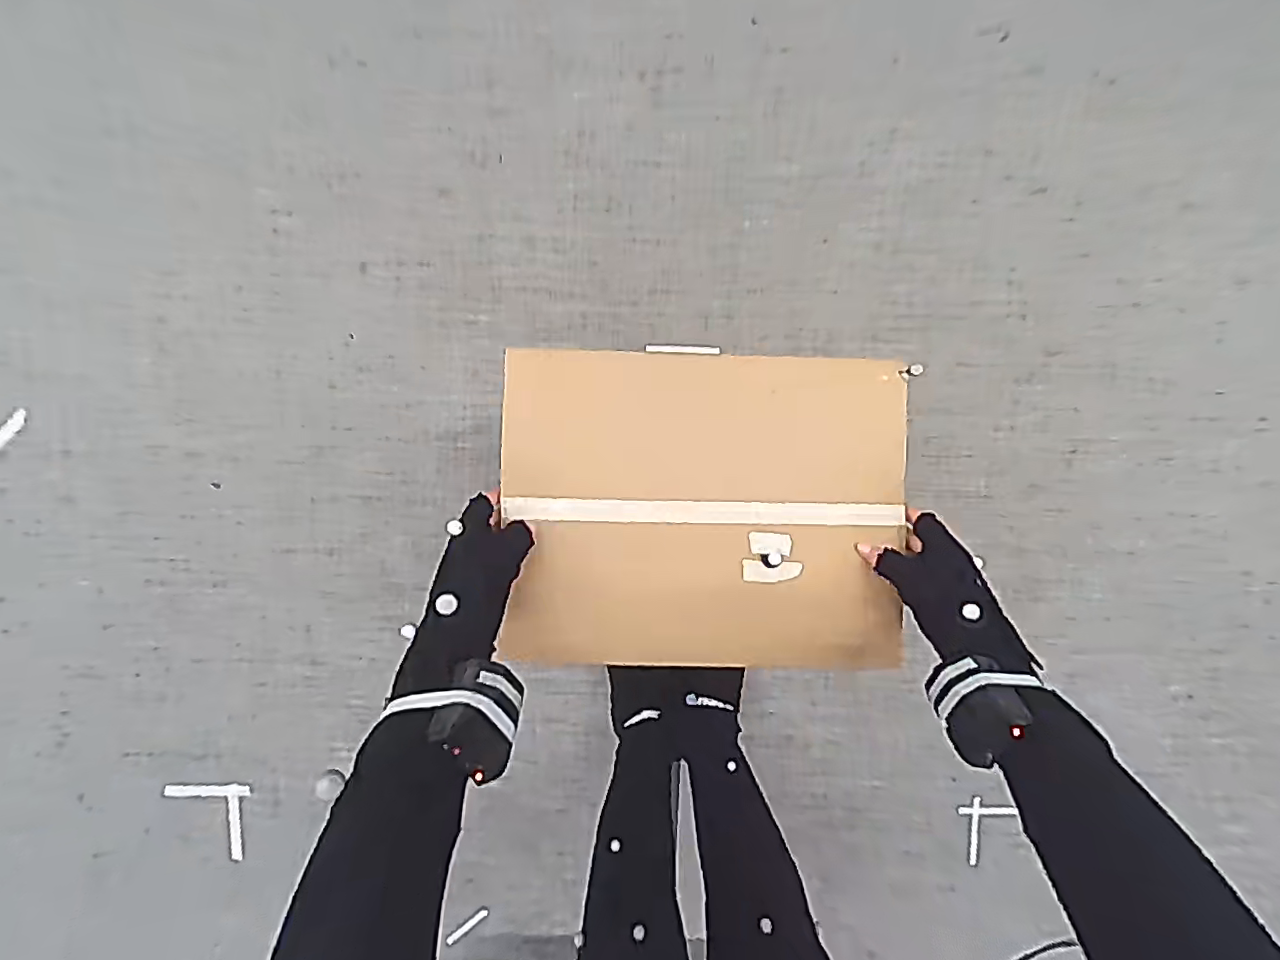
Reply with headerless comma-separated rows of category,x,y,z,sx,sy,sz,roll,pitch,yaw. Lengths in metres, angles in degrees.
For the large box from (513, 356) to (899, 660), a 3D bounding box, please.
large box,0.062,0.030,0.705,0.408,0.320,0.320,1,91,-2
